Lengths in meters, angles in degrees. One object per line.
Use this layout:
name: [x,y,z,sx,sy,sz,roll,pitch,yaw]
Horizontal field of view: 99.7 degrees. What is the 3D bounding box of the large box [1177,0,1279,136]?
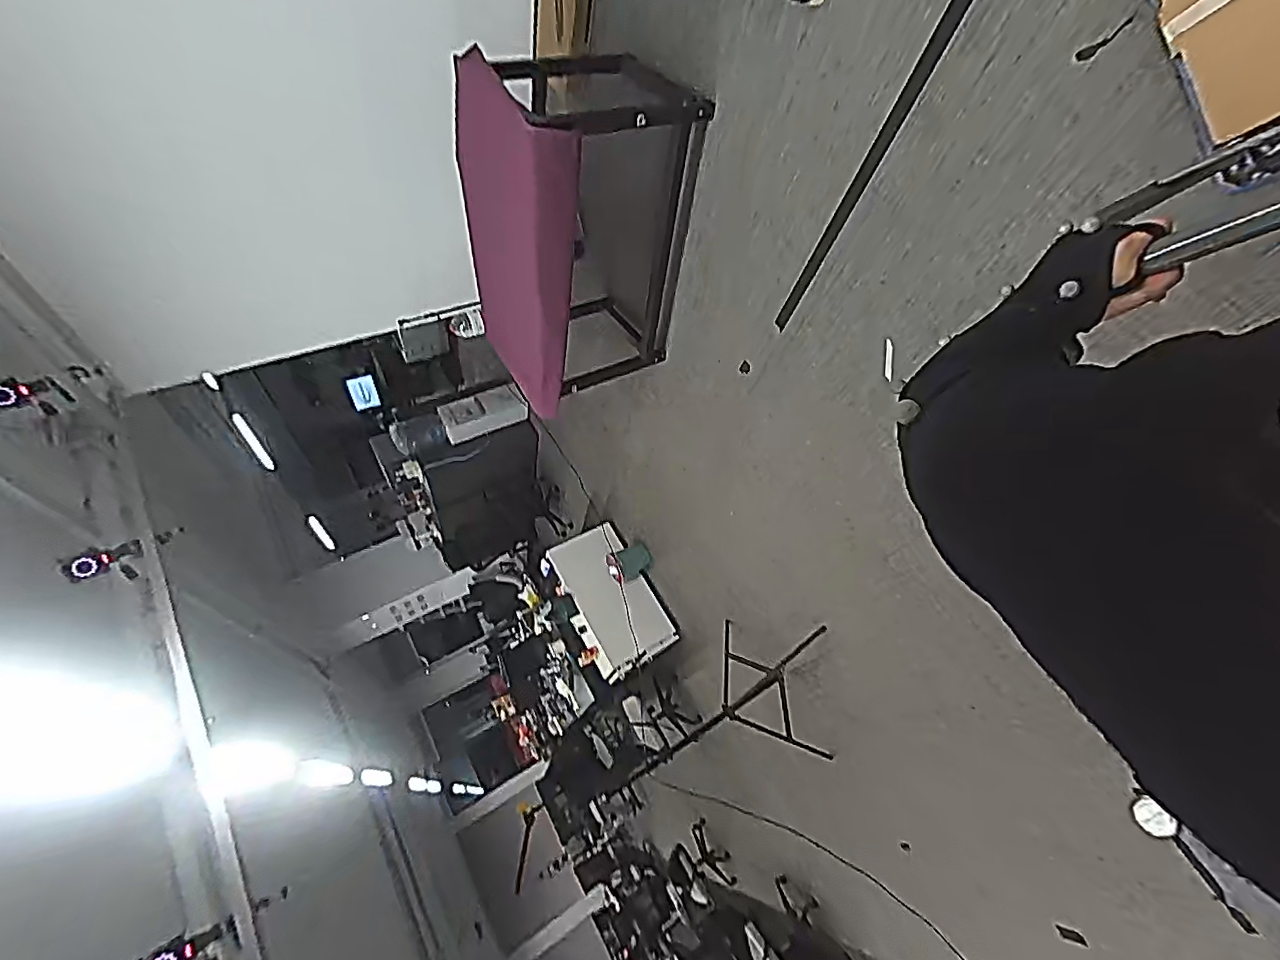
large box: [0.871,-0.641,0.545,0.320,0.320,0.408,66,156,-3]
